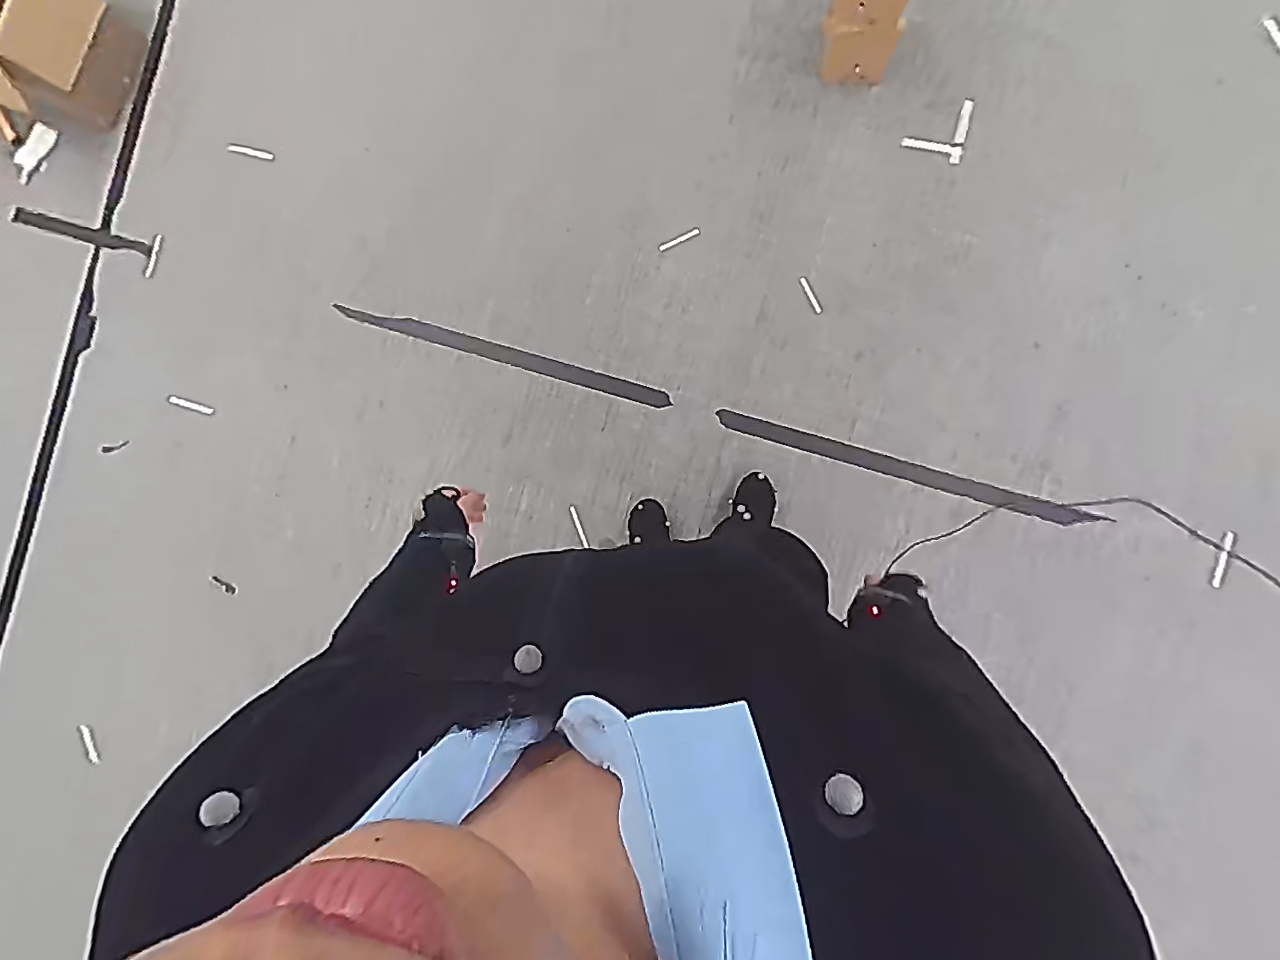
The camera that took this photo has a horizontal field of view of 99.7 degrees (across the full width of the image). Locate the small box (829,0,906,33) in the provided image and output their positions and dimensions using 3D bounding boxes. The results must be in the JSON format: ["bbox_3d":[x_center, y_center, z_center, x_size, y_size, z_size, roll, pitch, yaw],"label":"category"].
[{"bbox_3d":[0.552,-1.194,1.242,0.168,0.176,0.179,16,90,6],"label":"small box"}]

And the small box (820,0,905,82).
[{"bbox_3d":[0.573,-1.181,1.403,0.168,0.176,0.179,4,89,6],"label":"small box"}]
